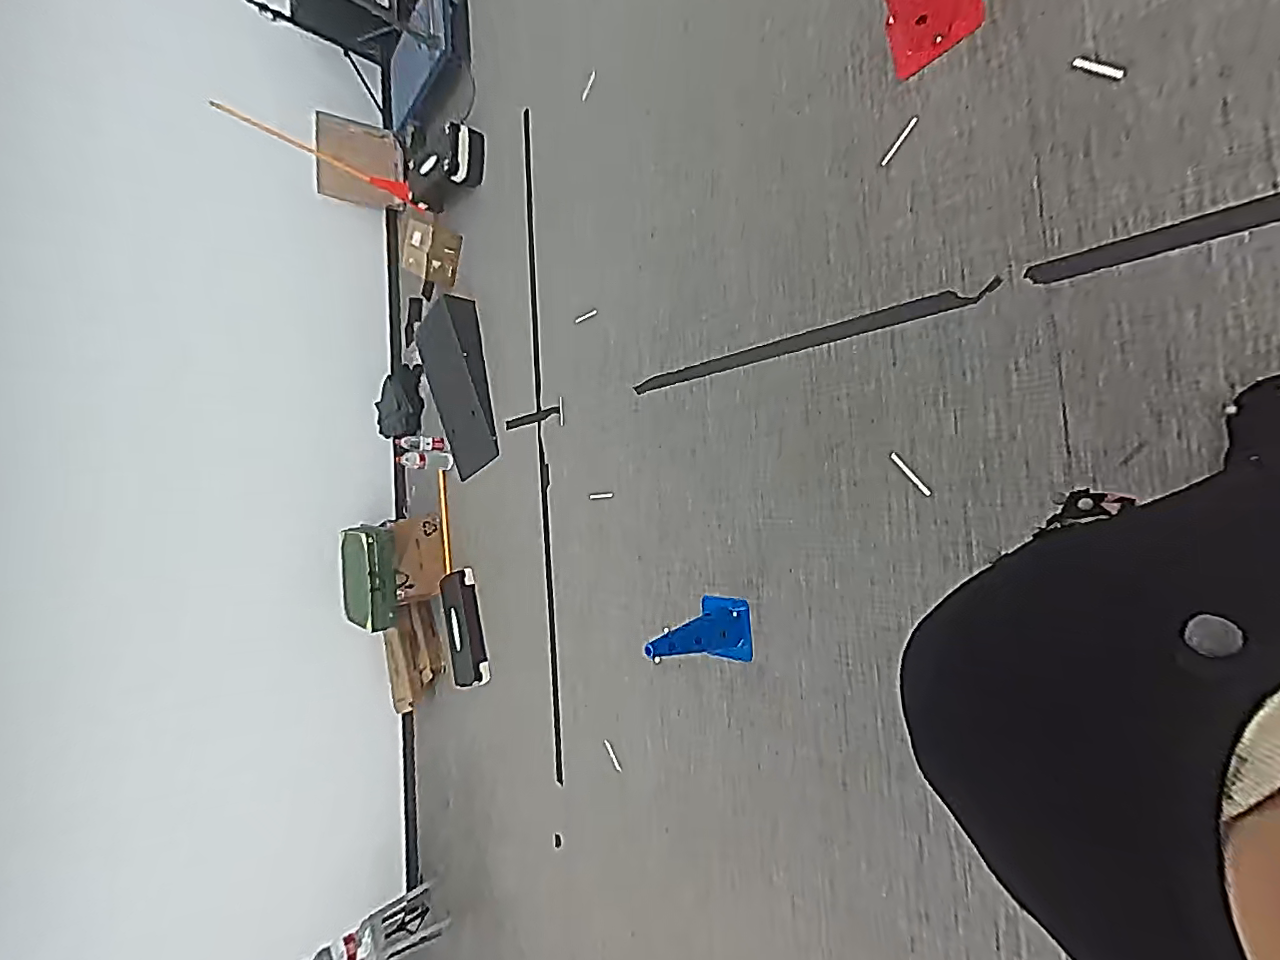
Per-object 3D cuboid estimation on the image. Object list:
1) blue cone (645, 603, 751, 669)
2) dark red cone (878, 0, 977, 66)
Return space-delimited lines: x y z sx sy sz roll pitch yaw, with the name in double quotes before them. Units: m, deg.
"blue cone" 0.162 0.511 1.679 0.193 0.380 0.192 -5 87 48
"dark red cone" 0.559 -1.130 1.179 0.202 0.394 0.201 -18 78 47
